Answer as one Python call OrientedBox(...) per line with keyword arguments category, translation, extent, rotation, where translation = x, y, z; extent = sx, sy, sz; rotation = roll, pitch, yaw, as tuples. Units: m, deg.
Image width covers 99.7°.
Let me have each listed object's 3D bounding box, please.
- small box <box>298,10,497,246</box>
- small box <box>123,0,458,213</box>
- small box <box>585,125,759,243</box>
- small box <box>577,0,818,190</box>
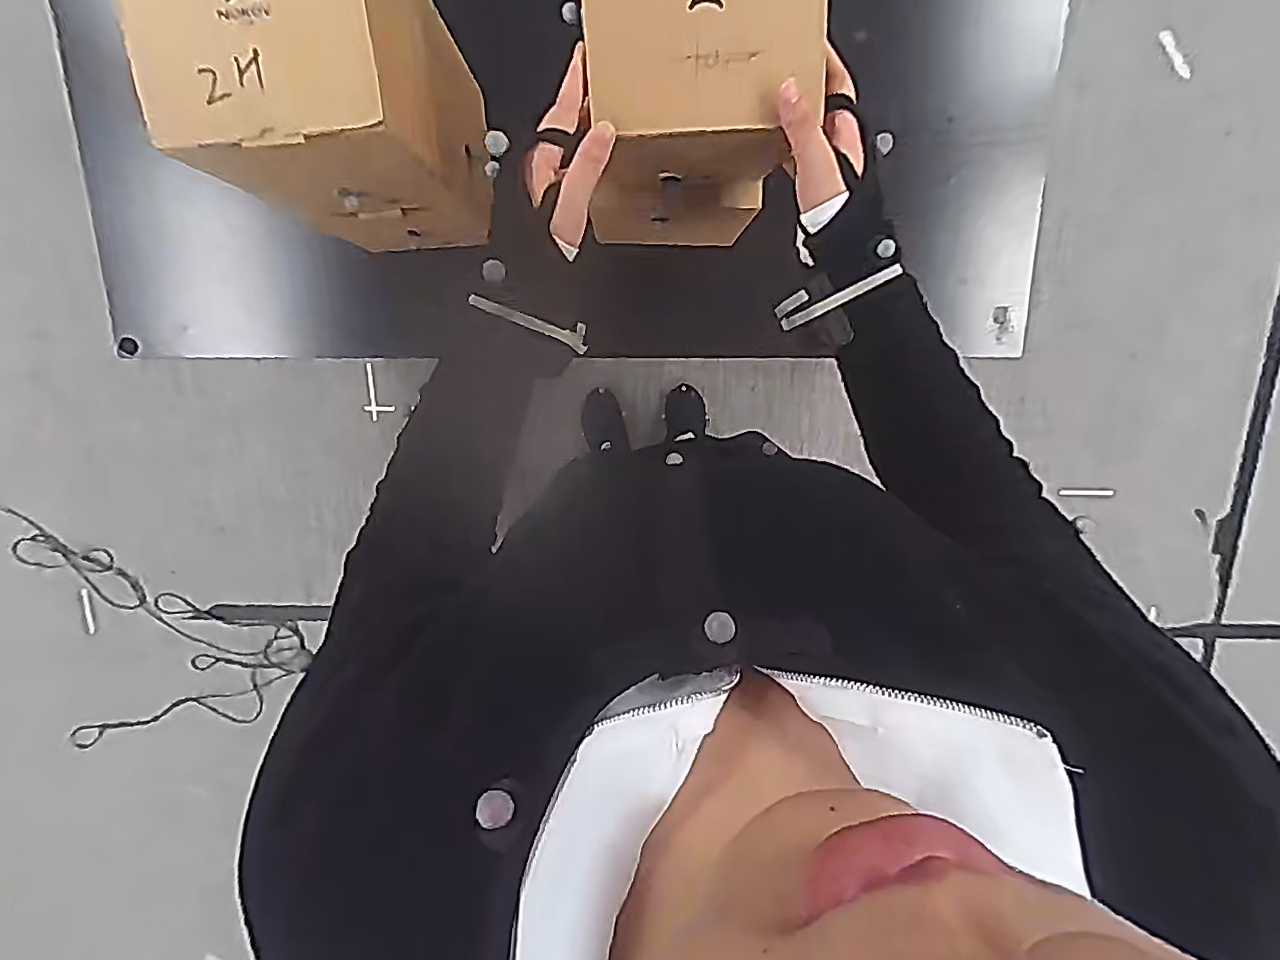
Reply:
OrientedBox(category="small box", translation=(-0.267, -0.370, 0.605), extent=(0.168, 0.176, 0.179), rotation=(-4, 102, 0))
OrientedBox(category="small box", translation=(-0.265, -0.341, 0.441), extent=(0.168, 0.176, 0.179), rotation=(-6, 102, 1))
OrientedBox(category="small box", translation=(0.033, -0.372, 0.606), extent=(0.179, 0.176, 0.168), rotation=(0, 102, -1))
OrientedBox(category="small box", translation=(0.034, -0.355, 0.437), extent=(0.168, 0.176, 0.179), rotation=(-4, 106, -1))
